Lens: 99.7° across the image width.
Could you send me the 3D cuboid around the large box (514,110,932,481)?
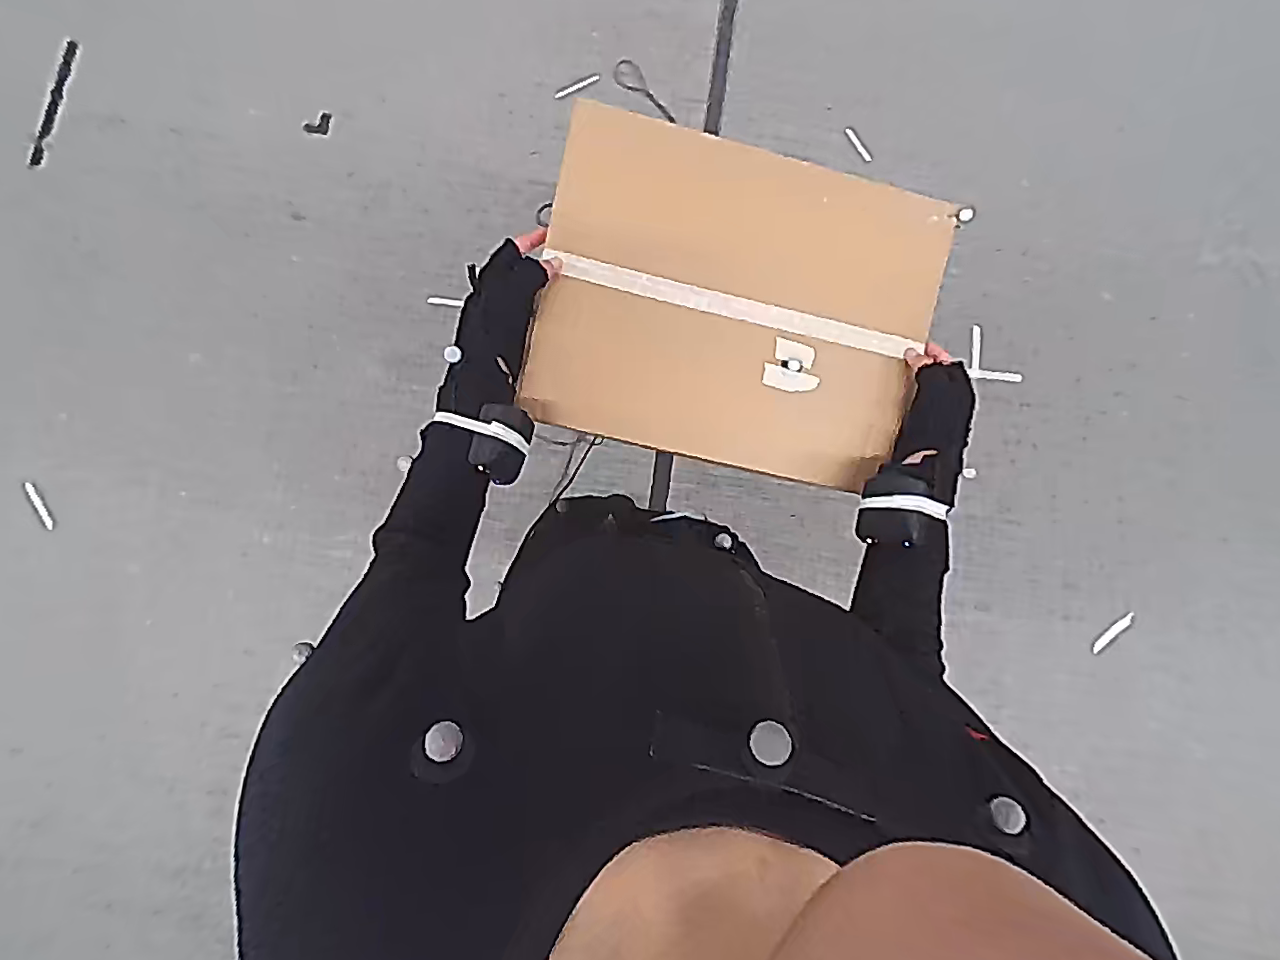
[{"bbox_3d":[0.076,-0.197,0.714,0.408,0.320,0.320,12,95,-6],"label":"large box"}]
